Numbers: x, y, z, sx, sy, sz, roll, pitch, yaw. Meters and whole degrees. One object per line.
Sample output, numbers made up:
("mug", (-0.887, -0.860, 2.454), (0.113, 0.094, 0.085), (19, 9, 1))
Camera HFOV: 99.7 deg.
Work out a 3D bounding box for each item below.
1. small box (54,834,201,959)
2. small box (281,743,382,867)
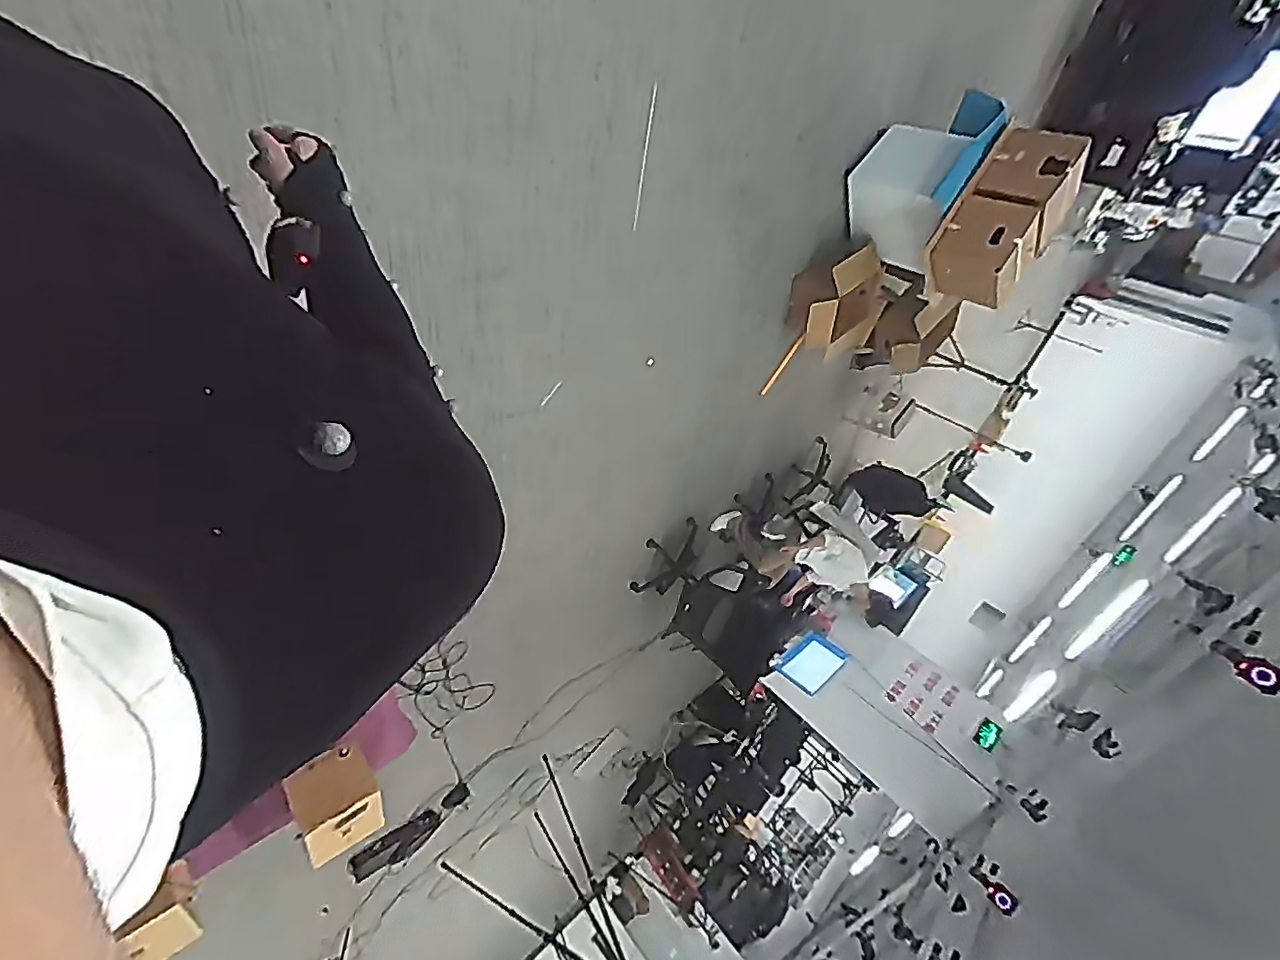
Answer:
("small box", (-1.014, 0.856, 1.075), (0.168, 0.176, 0.179), (-22, 137, -40))
("small box", (-0.755, 0.782, 1.325), (0.168, 0.176, 0.179), (-19, 135, -40))
